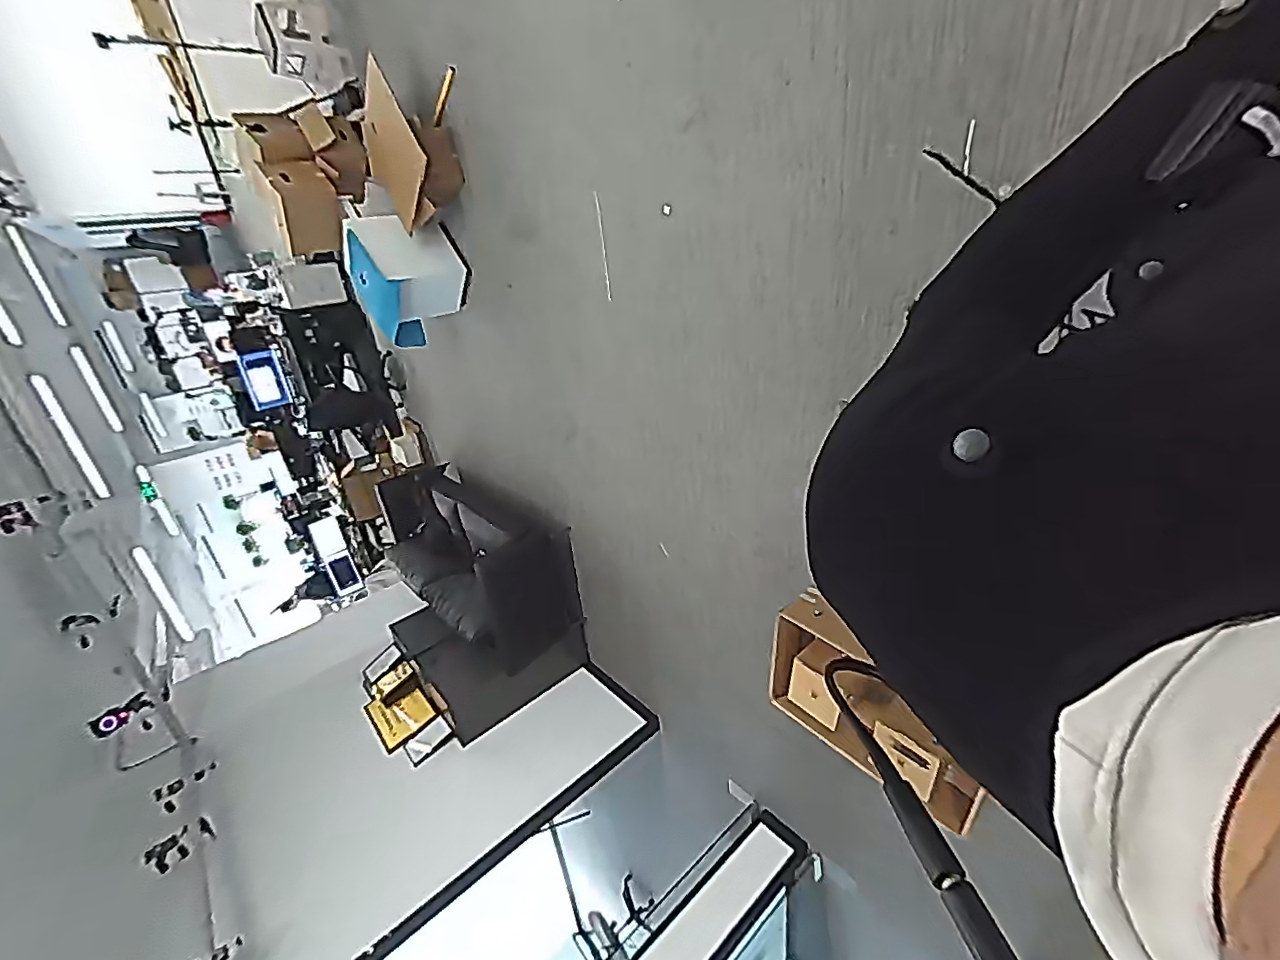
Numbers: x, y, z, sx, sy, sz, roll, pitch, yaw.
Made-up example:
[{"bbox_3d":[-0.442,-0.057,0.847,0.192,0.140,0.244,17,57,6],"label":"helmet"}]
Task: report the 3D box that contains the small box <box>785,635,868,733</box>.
[{"bbox_3d":[0.562,0.607,1.627,0.168,0.176,0.179,29,130,42],"label":"small box"}]
